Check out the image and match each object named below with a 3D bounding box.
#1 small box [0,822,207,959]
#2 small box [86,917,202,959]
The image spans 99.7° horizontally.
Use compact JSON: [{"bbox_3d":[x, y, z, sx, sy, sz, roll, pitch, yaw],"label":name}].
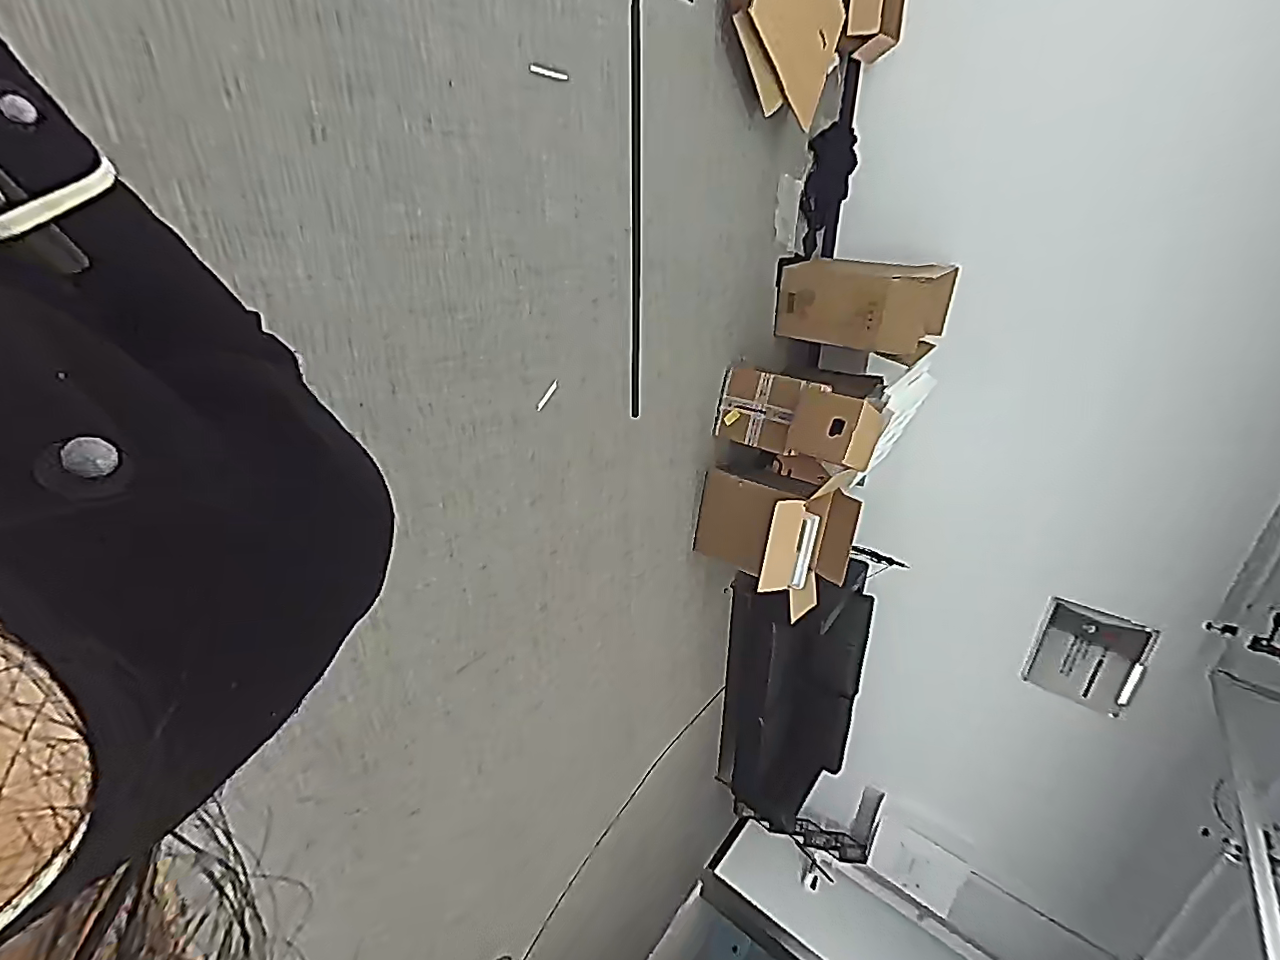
[{"bbox_3d":[-0.587,0.506,0.566,0.168,0.176,0.179,-25,124,-46],"label":"small box"},{"bbox_3d":[-0.460,0.546,0.470,0.168,0.176,0.179,-28,125,-45],"label":"small box"}]
